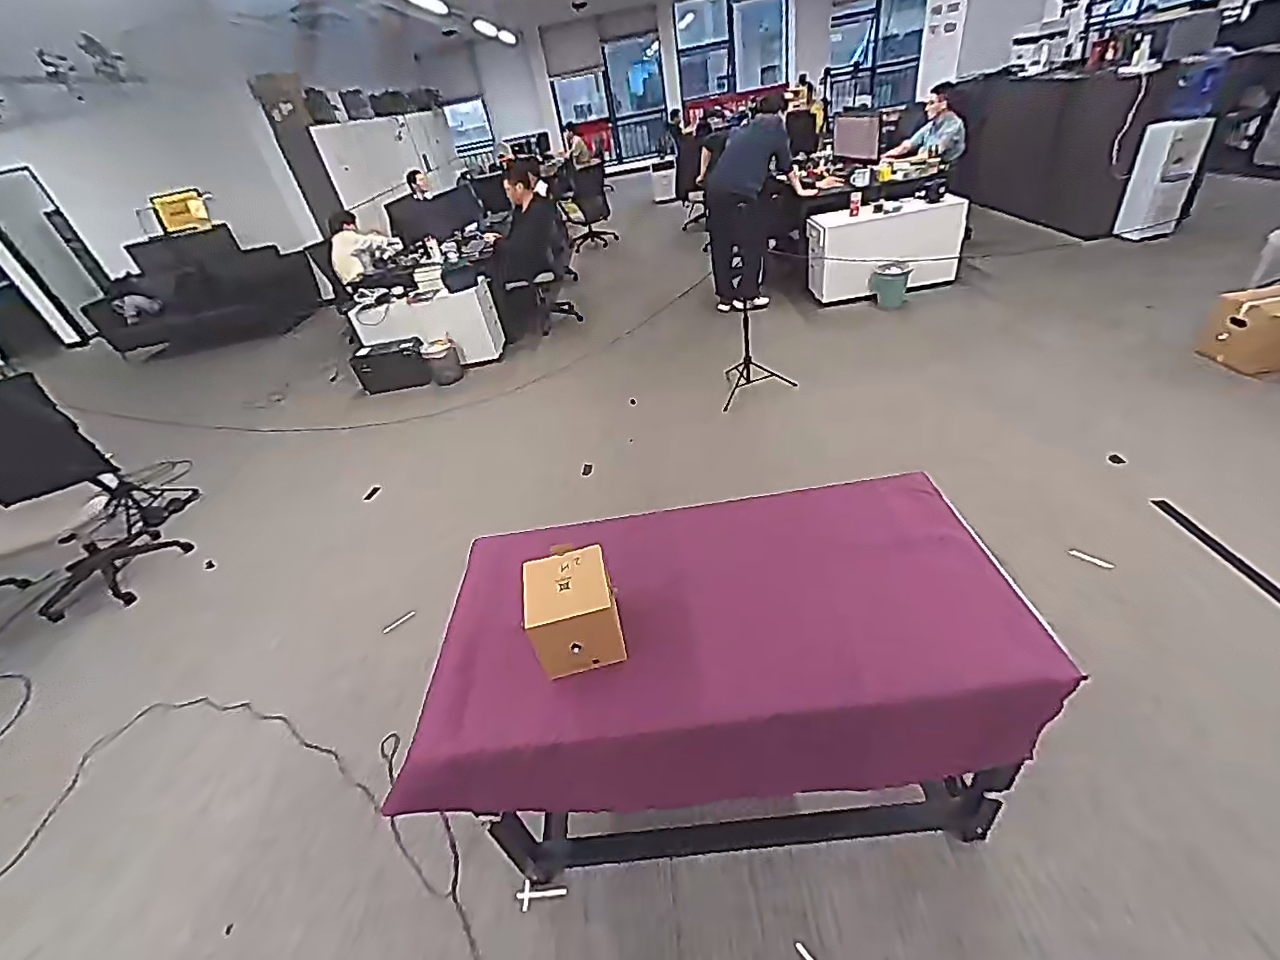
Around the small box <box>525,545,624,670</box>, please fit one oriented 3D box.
[{"bbox_3d":[-0.133,0.267,1.109,0.168,0.176,0.179,-13,36,-3],"label":"small box"}]
